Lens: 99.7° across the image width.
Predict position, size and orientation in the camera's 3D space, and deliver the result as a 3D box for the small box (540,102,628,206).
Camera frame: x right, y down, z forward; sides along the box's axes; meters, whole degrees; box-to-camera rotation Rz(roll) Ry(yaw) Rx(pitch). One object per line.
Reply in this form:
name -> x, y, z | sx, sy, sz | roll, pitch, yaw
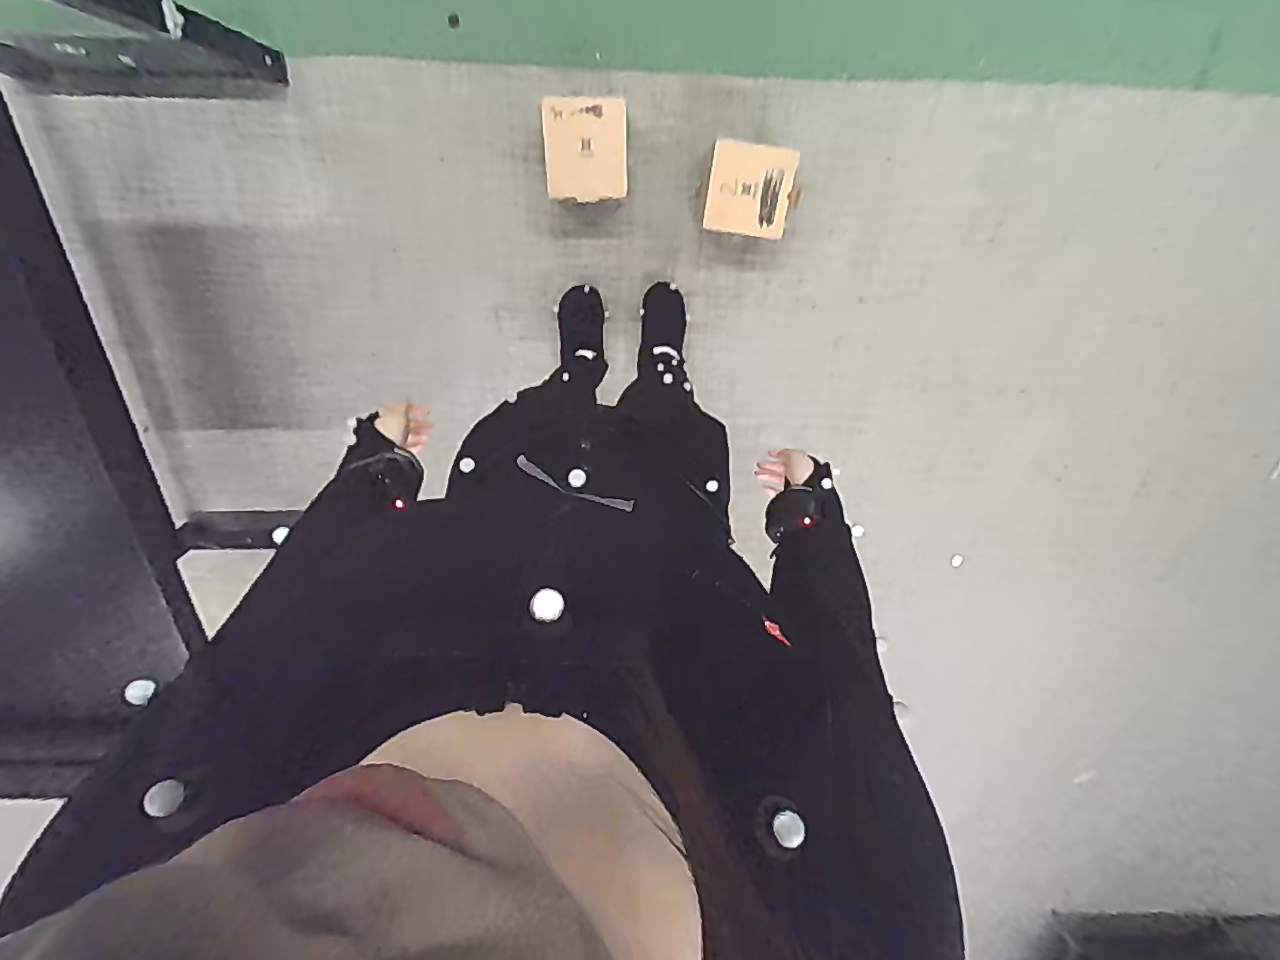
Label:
small box -> -0.110, -0.676, 1.136 | 0.168, 0.176, 0.179 | 0, 116, -1
